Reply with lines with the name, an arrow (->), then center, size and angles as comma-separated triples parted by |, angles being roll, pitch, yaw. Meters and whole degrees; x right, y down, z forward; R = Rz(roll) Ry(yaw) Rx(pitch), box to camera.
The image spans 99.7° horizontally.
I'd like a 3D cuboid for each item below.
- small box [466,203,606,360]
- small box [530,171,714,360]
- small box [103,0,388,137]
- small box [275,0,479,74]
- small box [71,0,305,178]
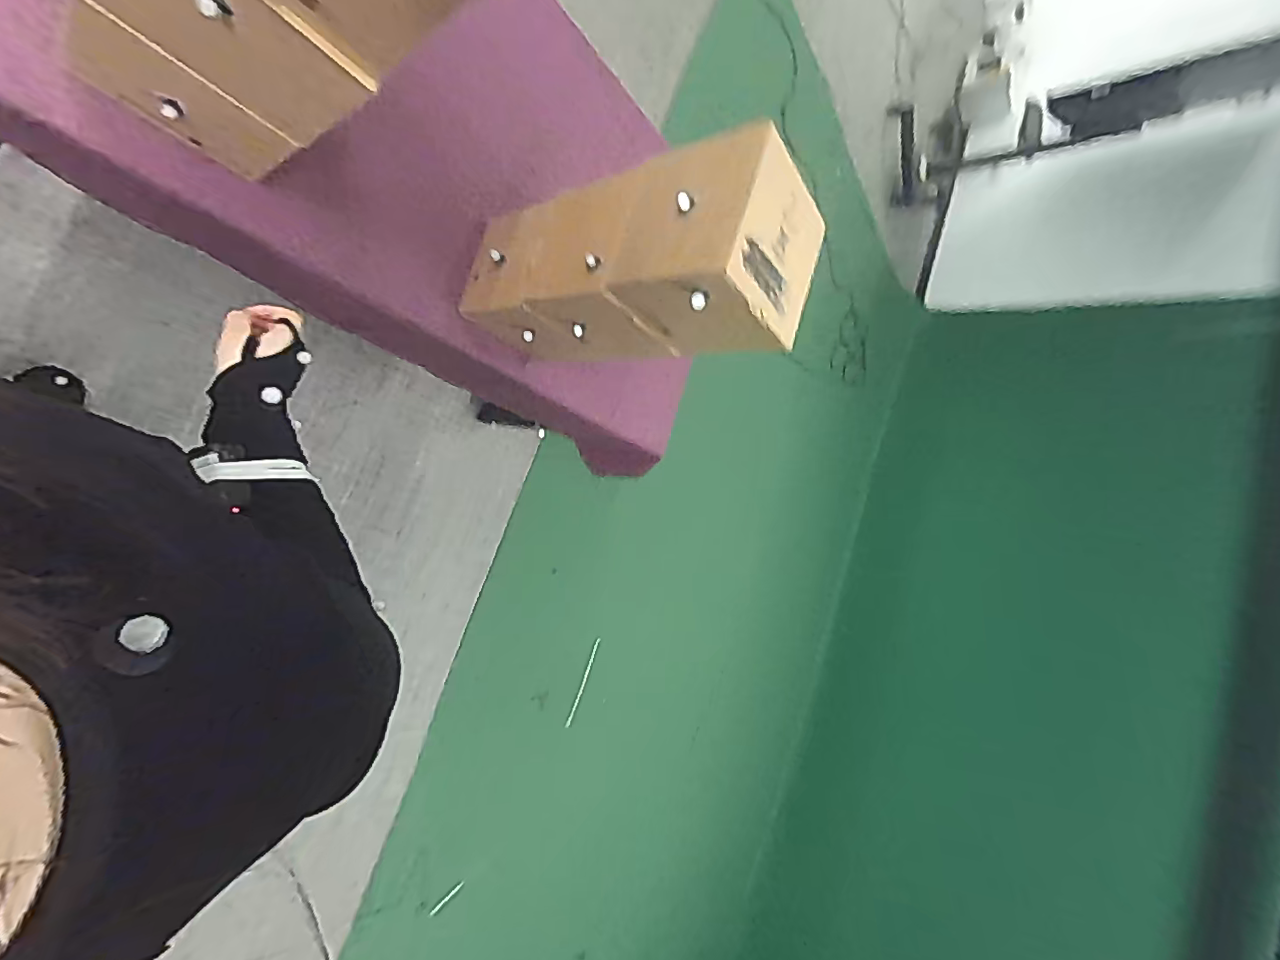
small box -> -0.146, -0.300, 0.864 | 0.179, 0.176, 0.168 | 24, 81, -47
small box -> -0.026, -0.284, 0.755 | 0.168, 0.176, 0.179 | 26, 79, -48
small box -> -0.295, -0.415, 0.425 | 0.179, 0.176, 0.168 | 25, 80, -48
small box -> -0.172, -0.400, 0.318 | 0.168, 0.176, 0.179 | 22, 82, -47
small box -> -0.415, -0.439, 0.535 | 0.168, 0.176, 0.179 | 26, 79, -48
